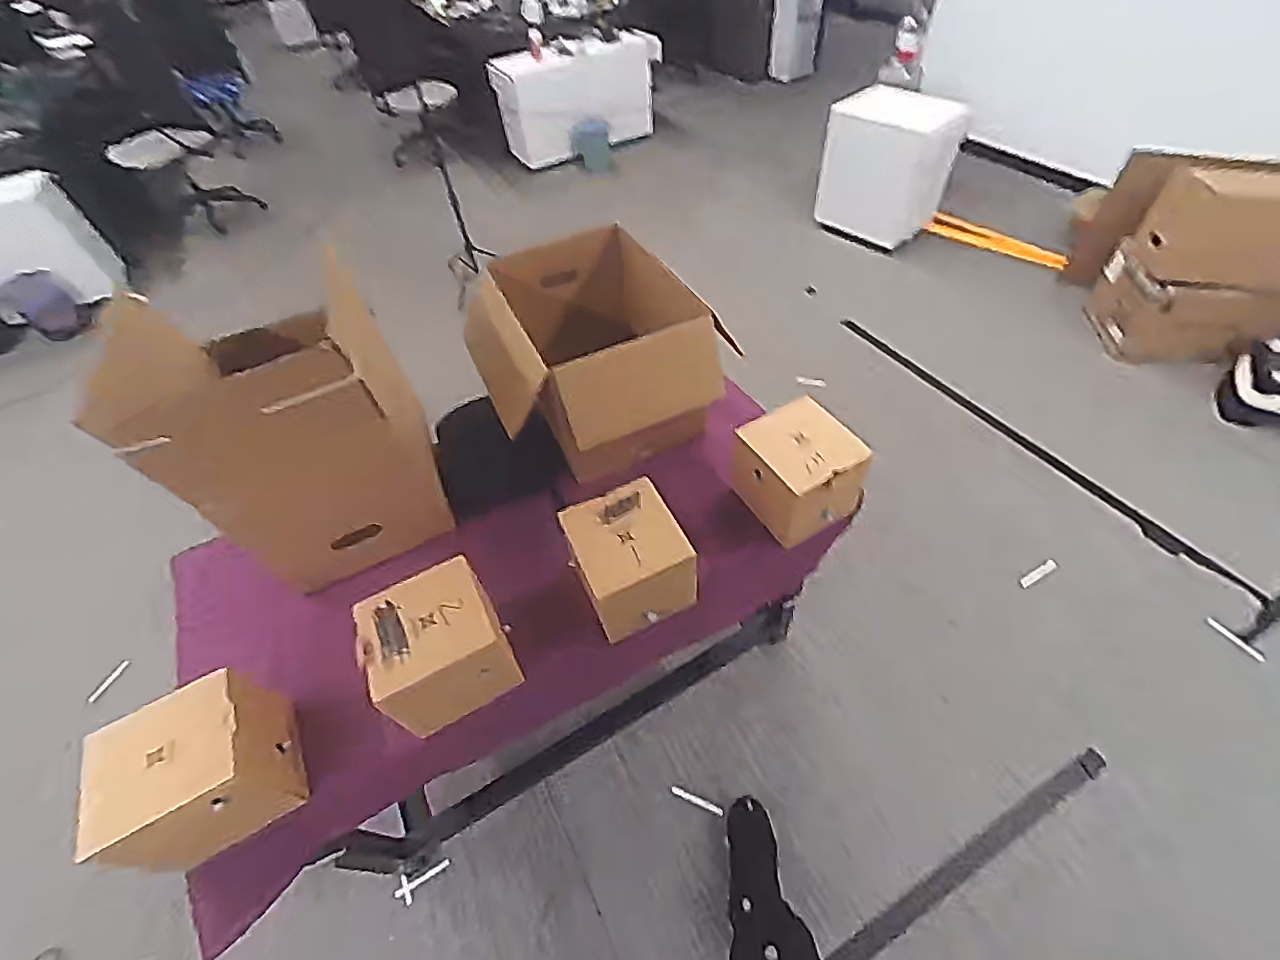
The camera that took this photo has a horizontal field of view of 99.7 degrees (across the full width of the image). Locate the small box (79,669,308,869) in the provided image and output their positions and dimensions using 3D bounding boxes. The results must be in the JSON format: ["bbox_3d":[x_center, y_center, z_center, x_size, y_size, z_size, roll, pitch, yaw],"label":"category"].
[{"bbox_3d":[-0.605,0.404,0.752,0.179,0.176,0.168,-27,53,-17],"label":"small box"}]

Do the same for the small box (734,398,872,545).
[{"bbox_3d":[0.286,-0.014,0.996,0.168,0.176,0.179,-26,54,-13],"label":"small box"}]
